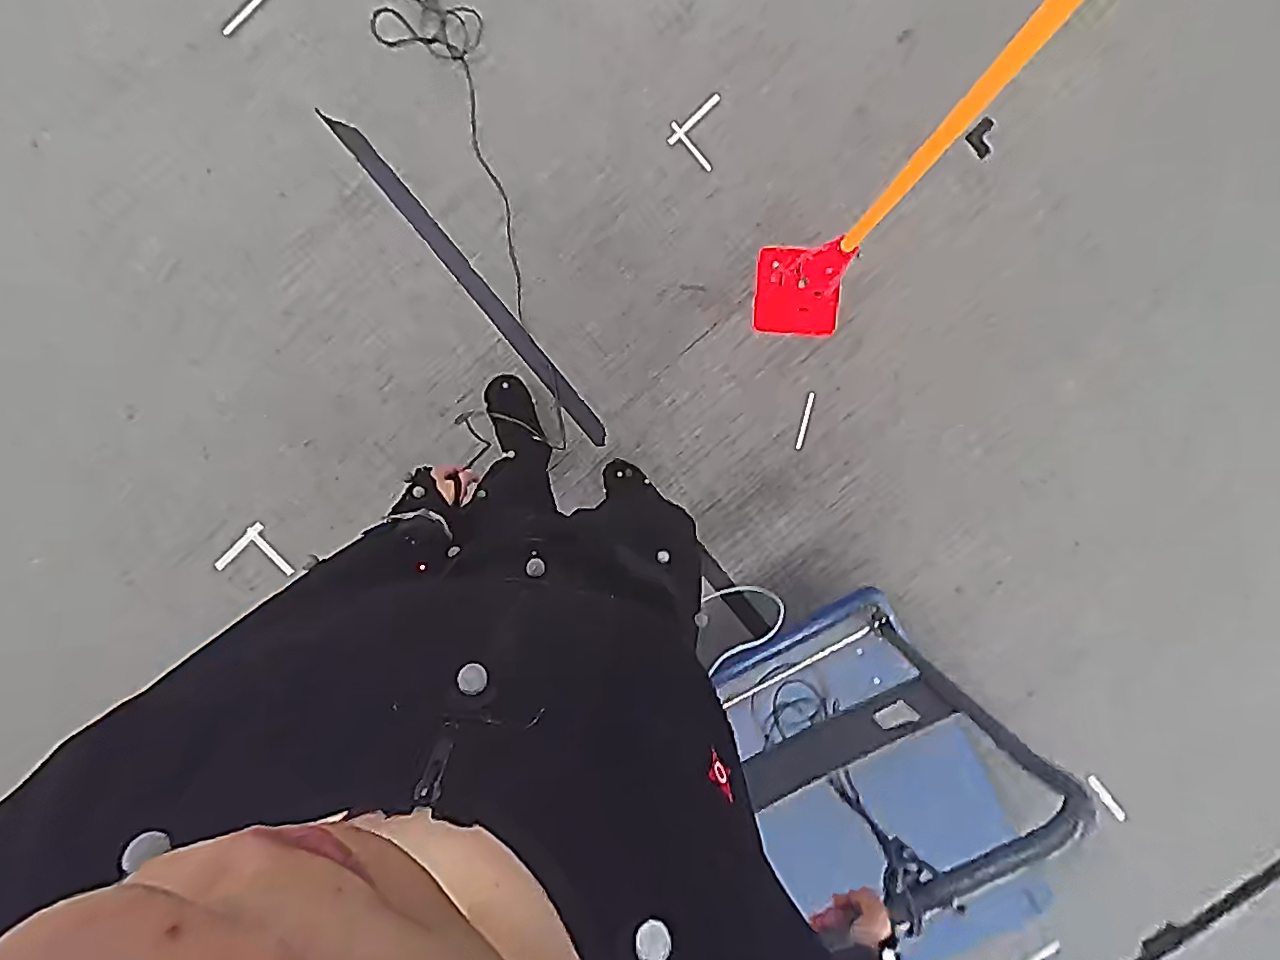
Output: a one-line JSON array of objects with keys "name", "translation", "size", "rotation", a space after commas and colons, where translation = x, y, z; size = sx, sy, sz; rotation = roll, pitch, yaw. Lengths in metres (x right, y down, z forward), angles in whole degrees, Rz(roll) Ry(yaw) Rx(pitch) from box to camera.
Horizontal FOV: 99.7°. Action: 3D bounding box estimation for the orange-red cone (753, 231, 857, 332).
[{"name": "orange-red cone", "translation": [0.367, -0.433, 1.109], "size": [0.198, 0.360, 0.199], "rotation": [5, 98, 2]}]
